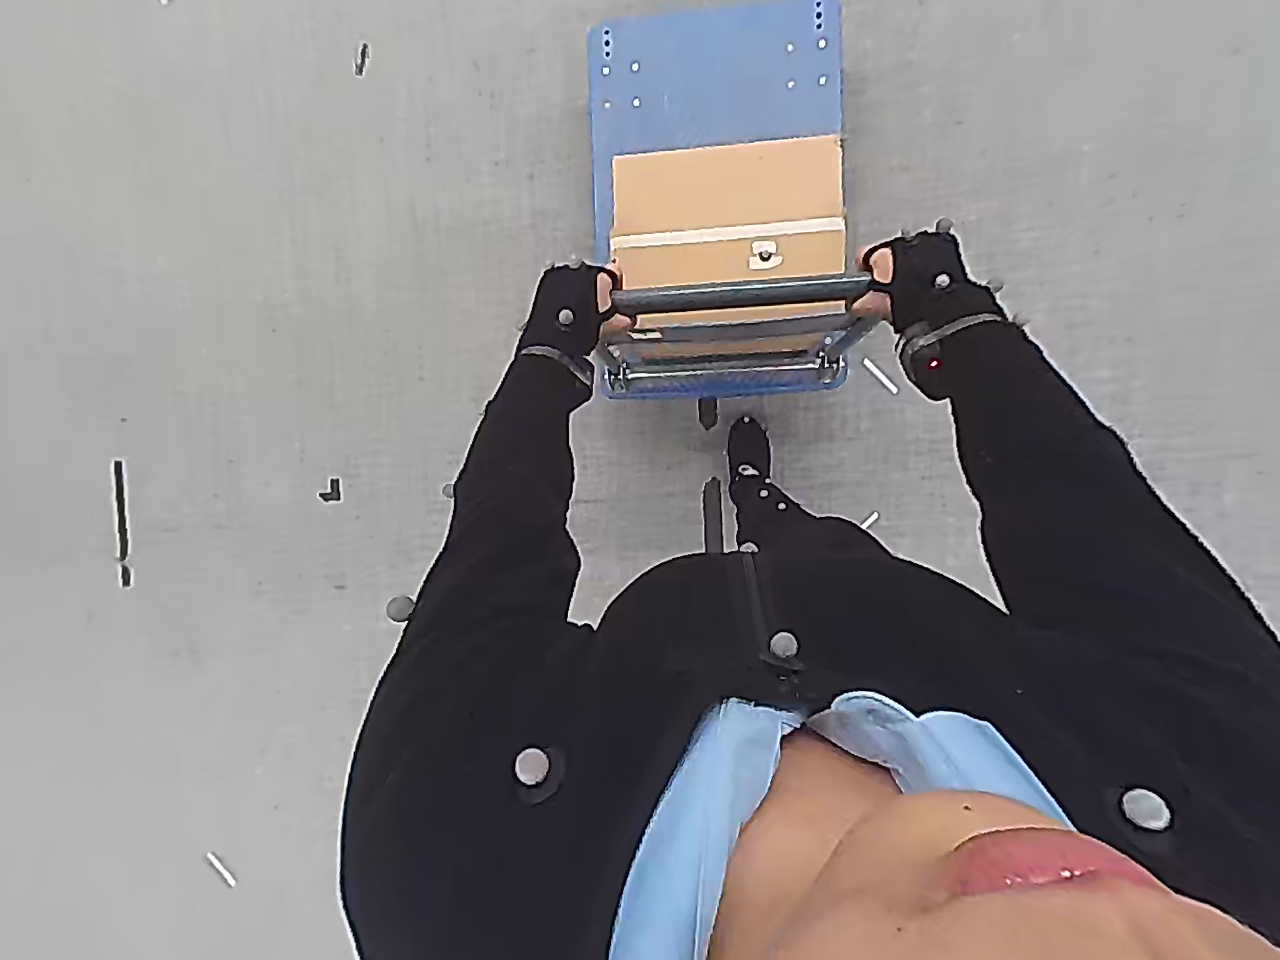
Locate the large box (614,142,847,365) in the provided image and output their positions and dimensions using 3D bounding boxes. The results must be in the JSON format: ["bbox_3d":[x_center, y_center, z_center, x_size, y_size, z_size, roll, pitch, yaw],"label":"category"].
[{"bbox_3d":[0.171,-0.427,1.104,0.408,0.320,0.320,-2,93,6],"label":"large box"}]
